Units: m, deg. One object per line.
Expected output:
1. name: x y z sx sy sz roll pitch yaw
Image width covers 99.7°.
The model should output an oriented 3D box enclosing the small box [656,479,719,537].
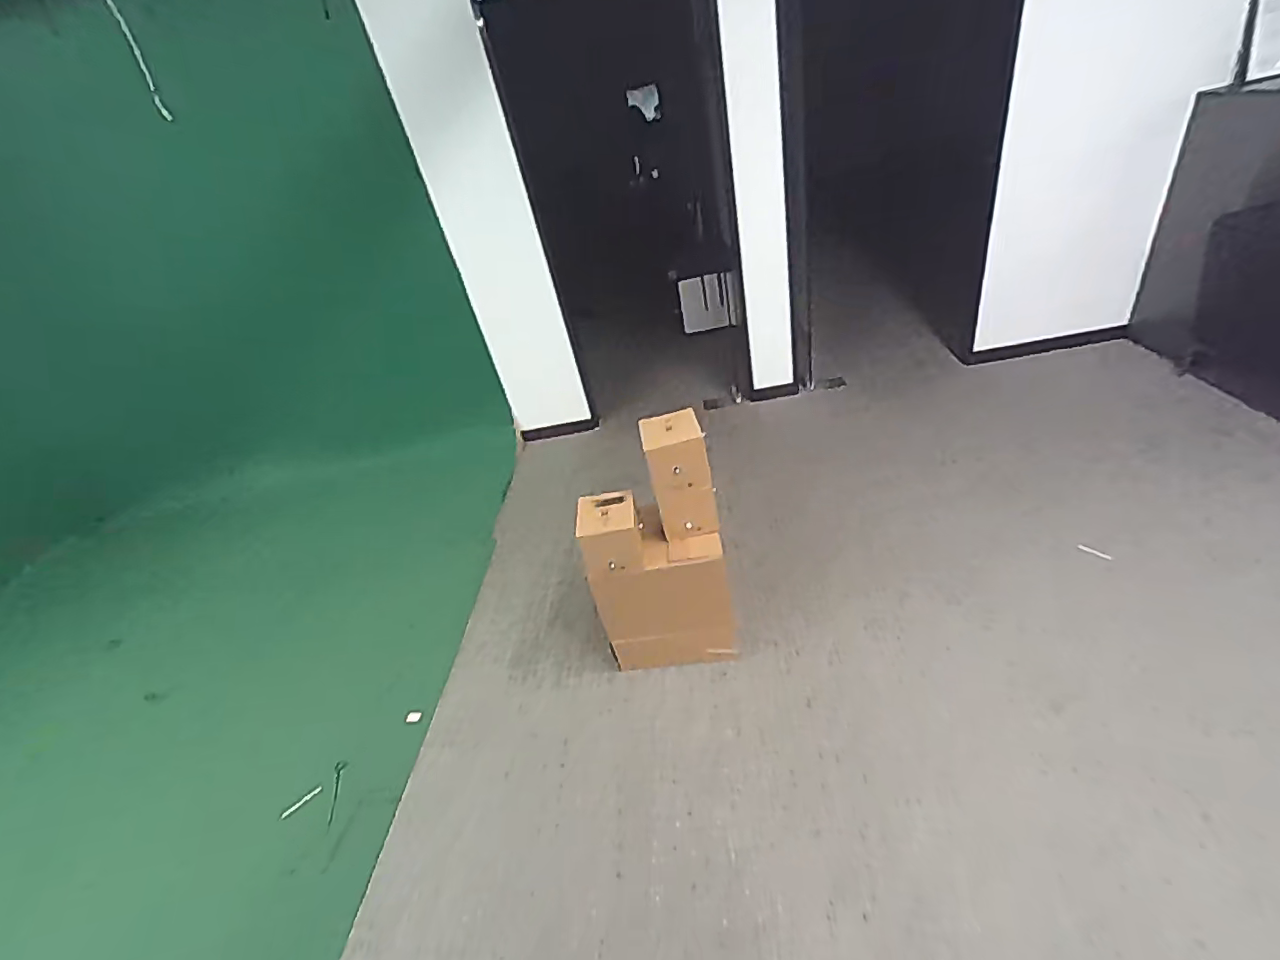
1. small box: 0.141 0.050 1.658 0.168 0.176 0.179 -13 35 6

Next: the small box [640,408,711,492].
1. small box: 0.102 -0.081 1.566 0.168 0.176 0.179 -13 34 4
